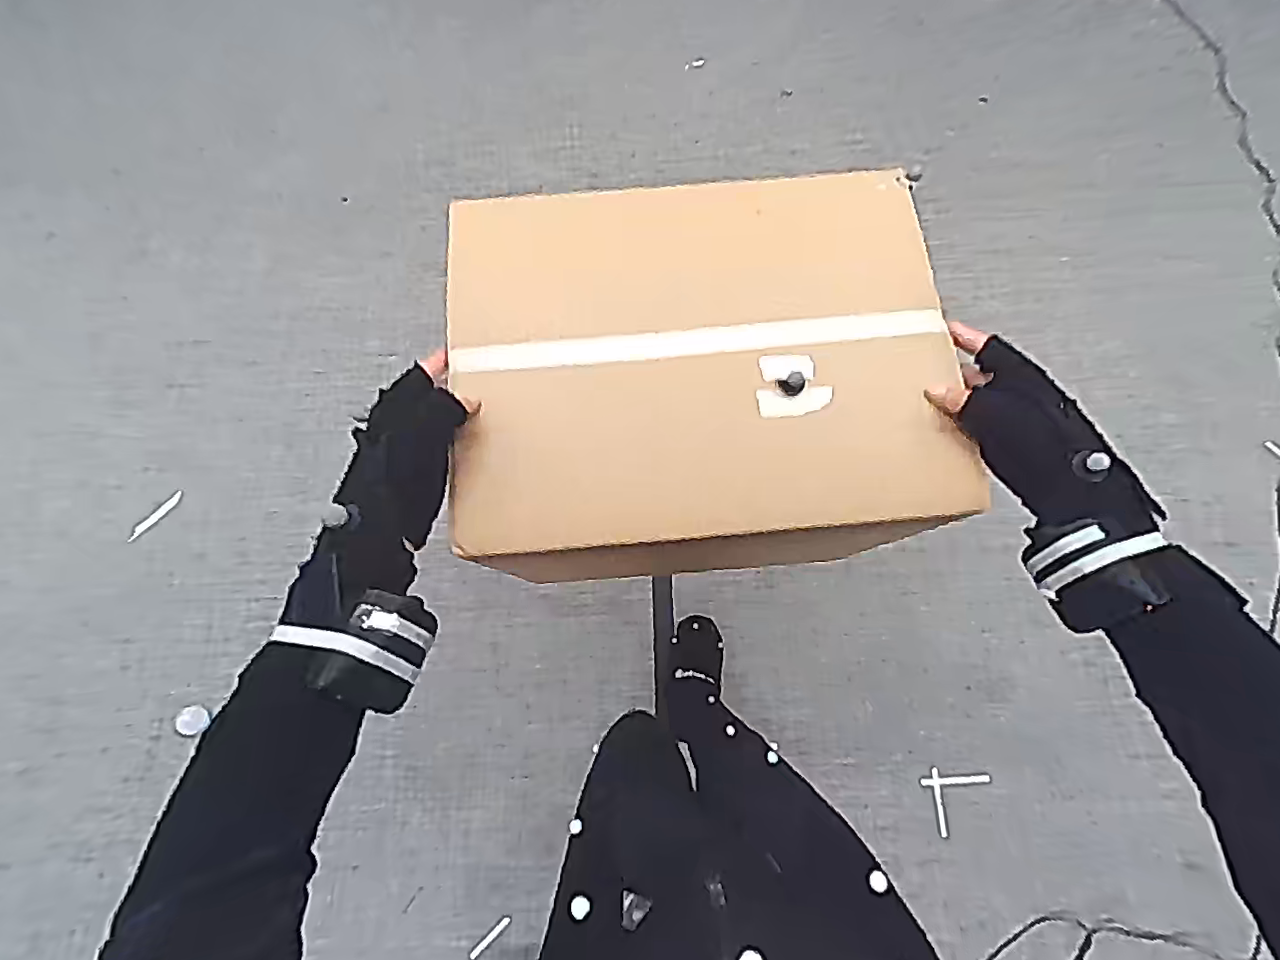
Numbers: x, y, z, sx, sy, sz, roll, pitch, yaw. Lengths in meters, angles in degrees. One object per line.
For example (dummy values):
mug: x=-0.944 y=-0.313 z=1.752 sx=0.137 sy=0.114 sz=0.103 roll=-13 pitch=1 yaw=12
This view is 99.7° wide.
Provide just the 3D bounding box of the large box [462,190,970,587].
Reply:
large box: x=0.048 y=-0.066 z=0.602 sx=0.408 sy=0.320 sz=0.320 roll=-5 pitch=76 yaw=-2
